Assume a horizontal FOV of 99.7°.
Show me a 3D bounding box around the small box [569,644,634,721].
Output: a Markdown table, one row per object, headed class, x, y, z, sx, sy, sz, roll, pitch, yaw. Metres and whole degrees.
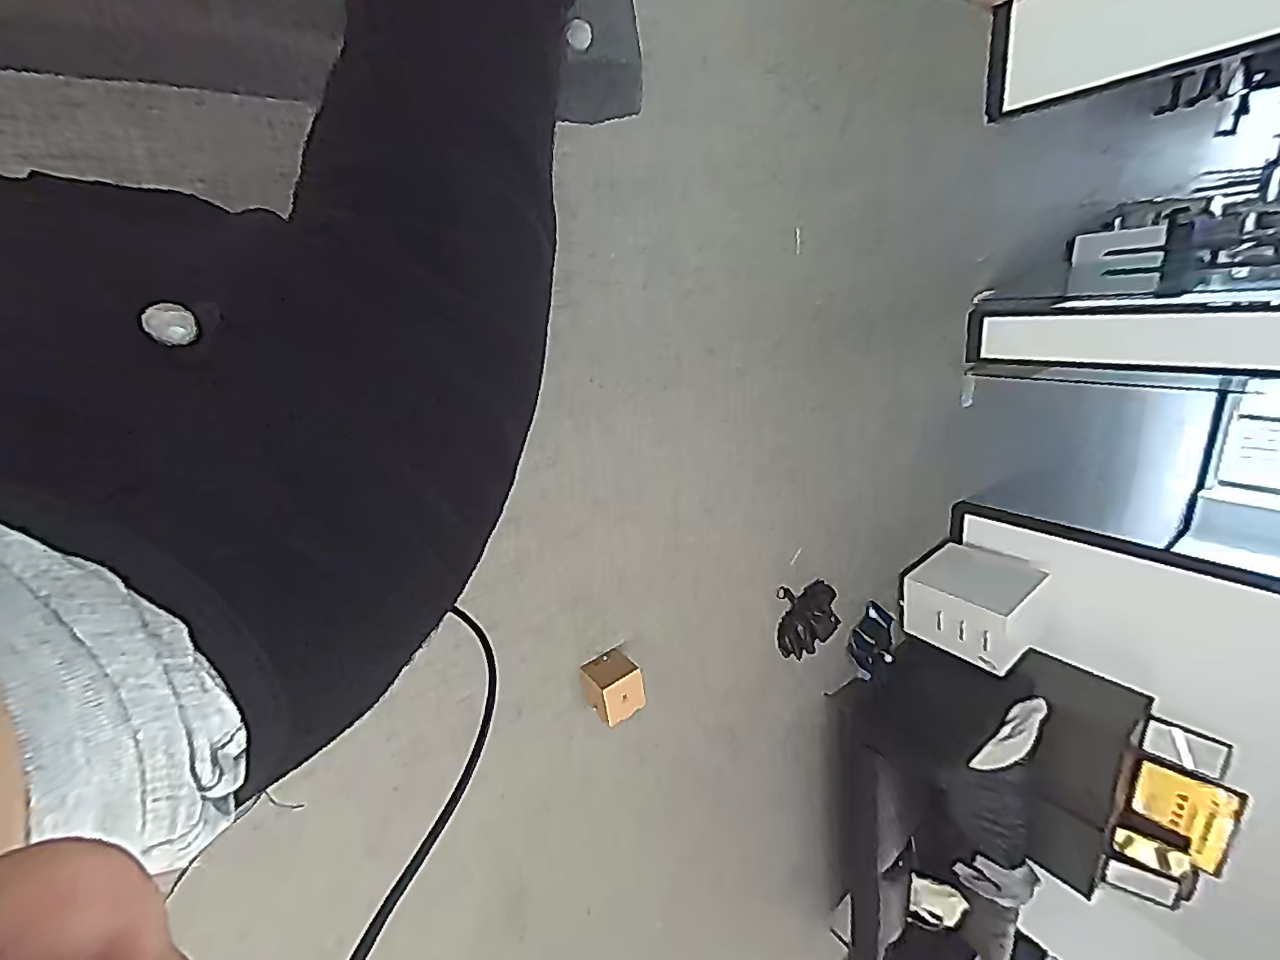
| class | x | y | z | sx | sy | sz | roll | pitch | yaw |
| --- | --- | --- | --- | --- | --- | --- | --- | --- | --- |
| small box | -0.147 | 0.756 | 2.037 | 0.168 | 0.176 | 0.179 | -23 | 115 | -32 |
